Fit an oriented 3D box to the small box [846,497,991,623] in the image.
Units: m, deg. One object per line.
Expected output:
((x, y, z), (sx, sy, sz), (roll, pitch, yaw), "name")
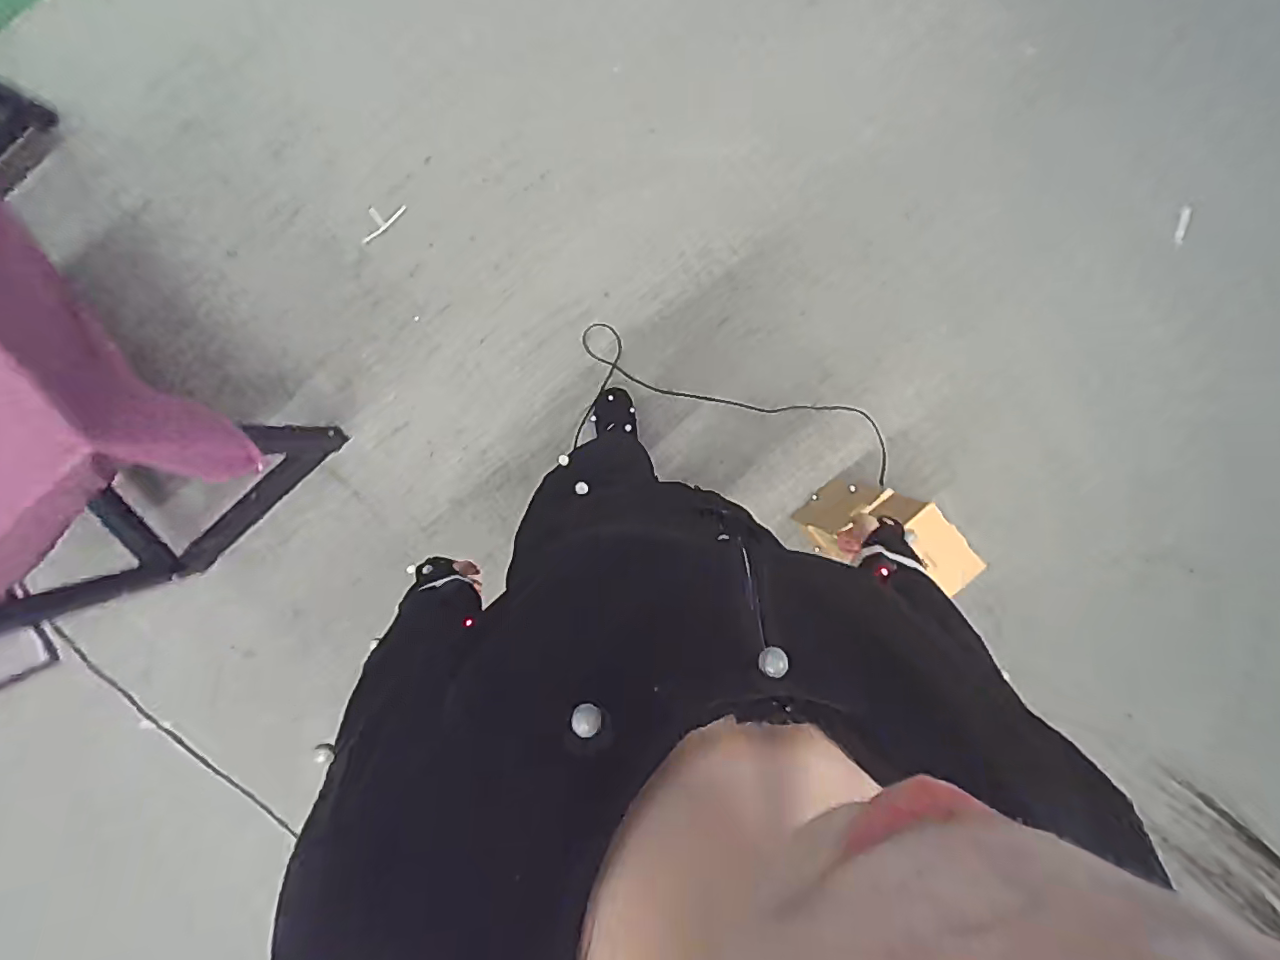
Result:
((0.545, 0.152, 1.094), (0.179, 0.176, 0.168), (-41, 92, 3), "small box")

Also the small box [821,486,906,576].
((0.554, 0.127, 1.256), (0.168, 0.176, 0.179), (-41, 93, 4), "small box")
